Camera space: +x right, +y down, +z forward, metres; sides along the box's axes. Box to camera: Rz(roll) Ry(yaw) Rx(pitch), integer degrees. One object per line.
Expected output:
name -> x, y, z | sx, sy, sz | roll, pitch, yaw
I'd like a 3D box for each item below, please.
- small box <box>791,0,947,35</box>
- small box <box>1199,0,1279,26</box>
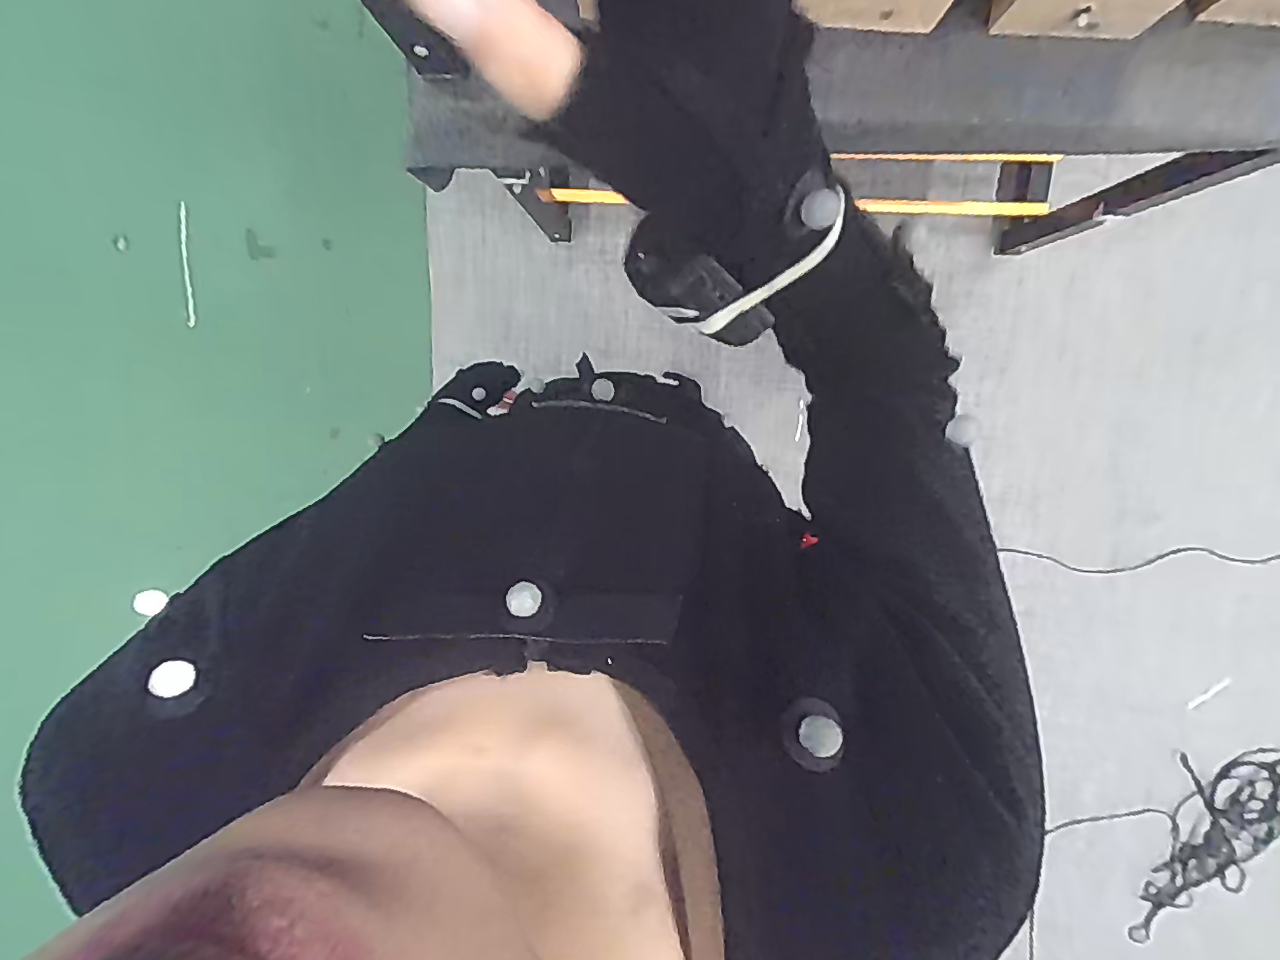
small box -> 0.258, -0.595, 0.543 | 0.168, 0.176, 0.179 | 5, 100, 1
small box -> 0.710, -0.582, 0.523 | 0.168, 0.176, 0.179 | 6, 100, 1
